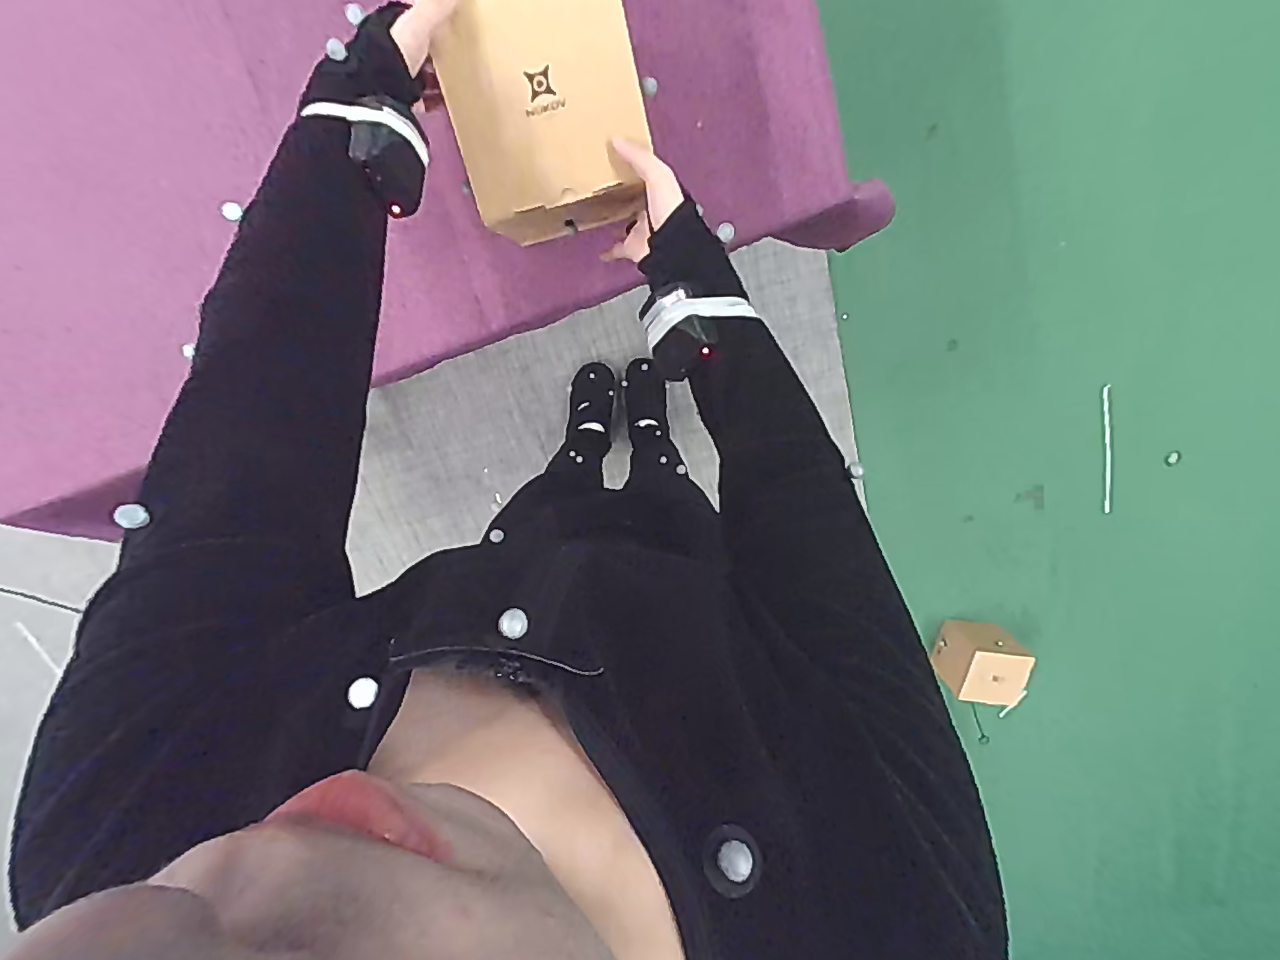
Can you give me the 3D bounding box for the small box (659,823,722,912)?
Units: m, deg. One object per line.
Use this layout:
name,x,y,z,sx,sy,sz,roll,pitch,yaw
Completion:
small box,0.164,1.296,1.815,0.179,0.176,0.168,-15,108,4

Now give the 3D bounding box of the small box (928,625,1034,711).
small box,0.991,0.545,1.586,0.179,0.176,0.168,8,107,-3

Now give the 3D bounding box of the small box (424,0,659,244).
small box,-0.082,-0.353,0.539,0.168,0.176,0.179,-13,107,4
